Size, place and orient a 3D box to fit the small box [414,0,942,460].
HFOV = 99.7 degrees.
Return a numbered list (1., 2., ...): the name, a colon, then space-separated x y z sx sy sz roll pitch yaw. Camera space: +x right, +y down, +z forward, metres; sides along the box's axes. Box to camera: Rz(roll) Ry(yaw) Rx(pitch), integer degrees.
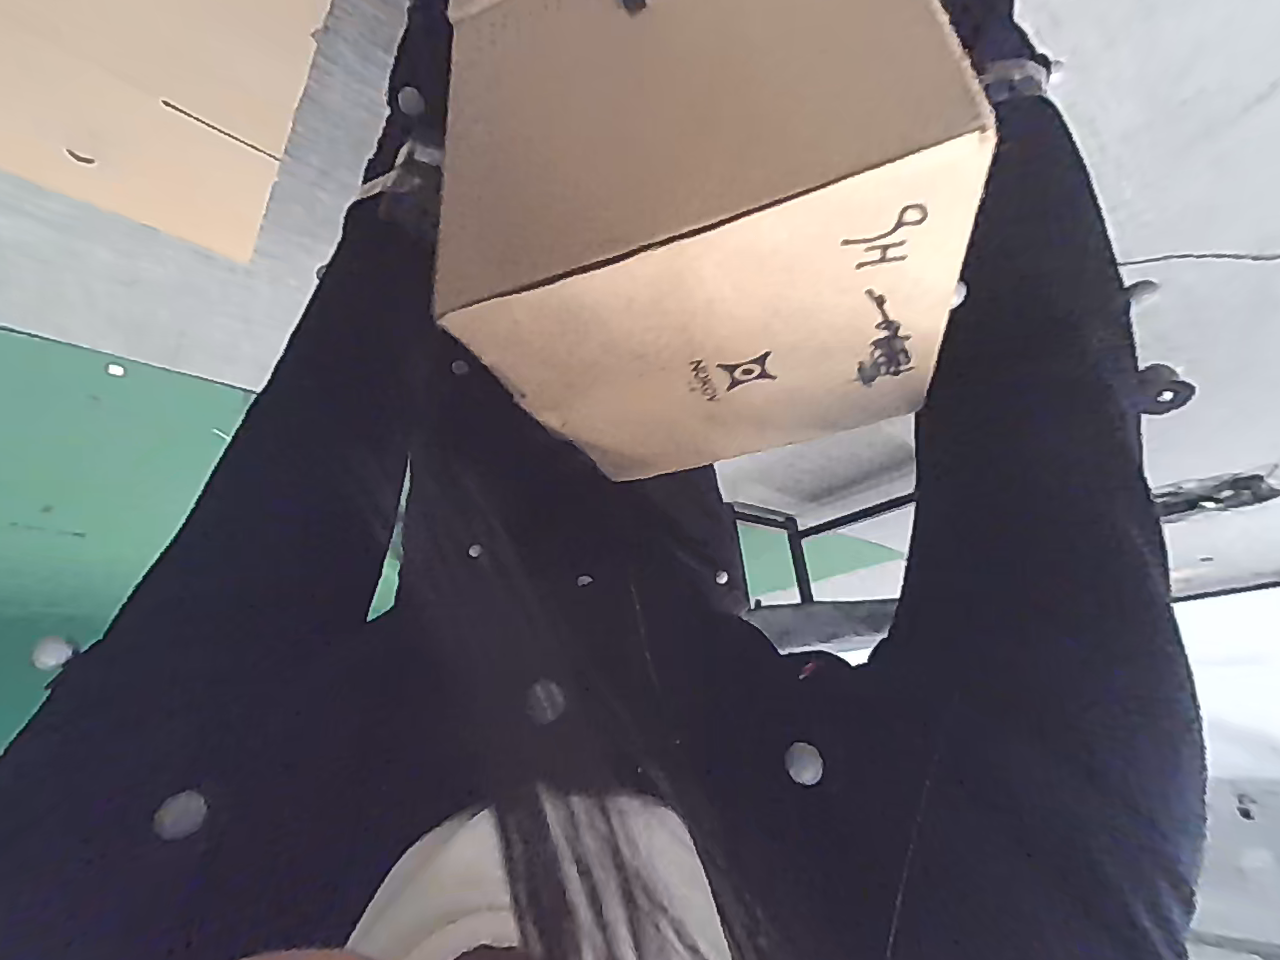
1. small box: 0.024 -0.133 0.265 0.179 0.176 0.168 -13 155 20
